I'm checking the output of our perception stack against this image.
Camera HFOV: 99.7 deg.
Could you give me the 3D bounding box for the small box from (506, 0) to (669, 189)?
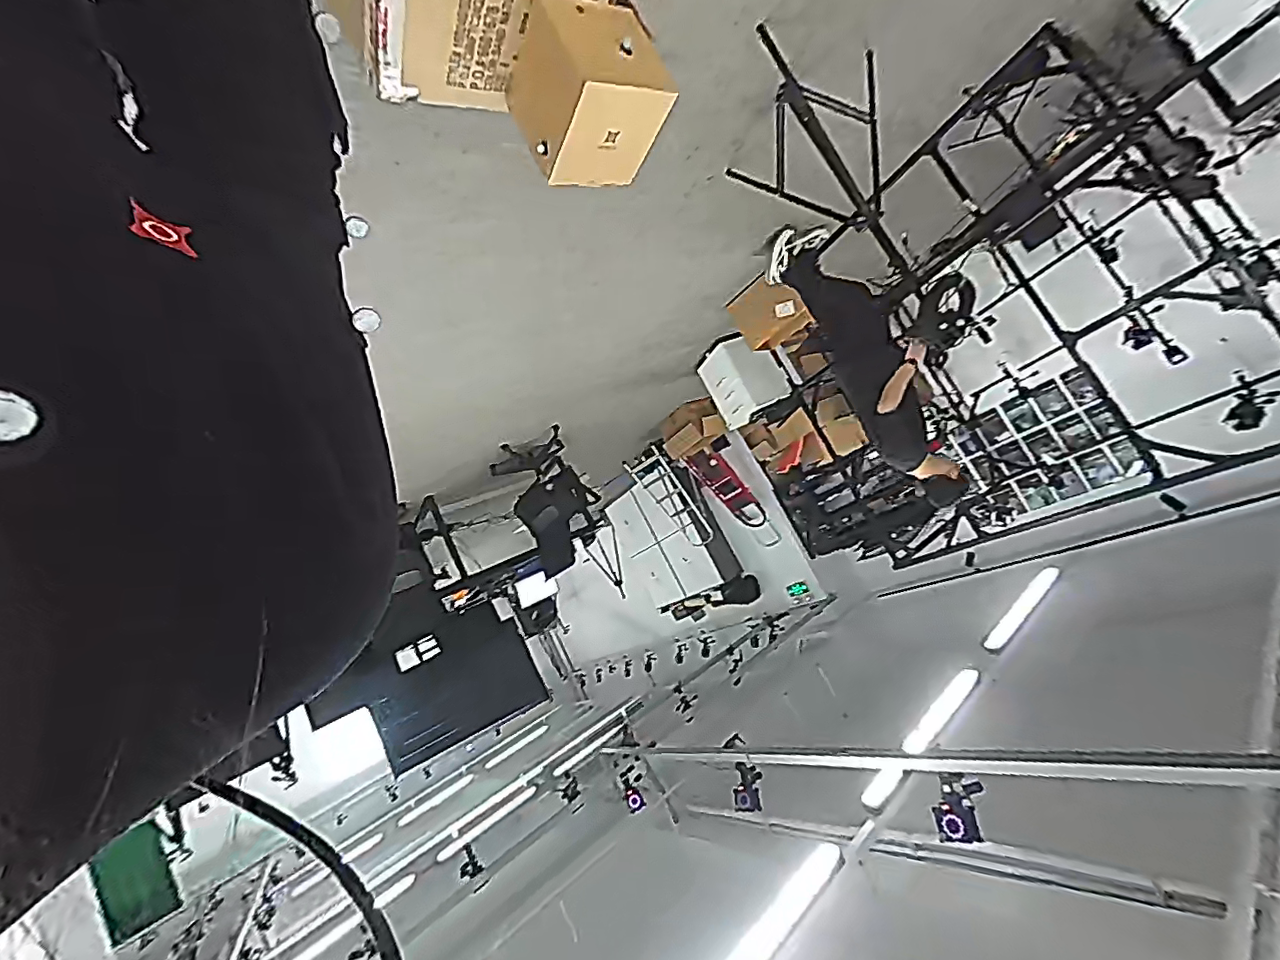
[{"bbox_3d":[-0.090,-0.589,0.842,0.168,0.176,0.179,-20,171,-33],"label":"small box"}]
